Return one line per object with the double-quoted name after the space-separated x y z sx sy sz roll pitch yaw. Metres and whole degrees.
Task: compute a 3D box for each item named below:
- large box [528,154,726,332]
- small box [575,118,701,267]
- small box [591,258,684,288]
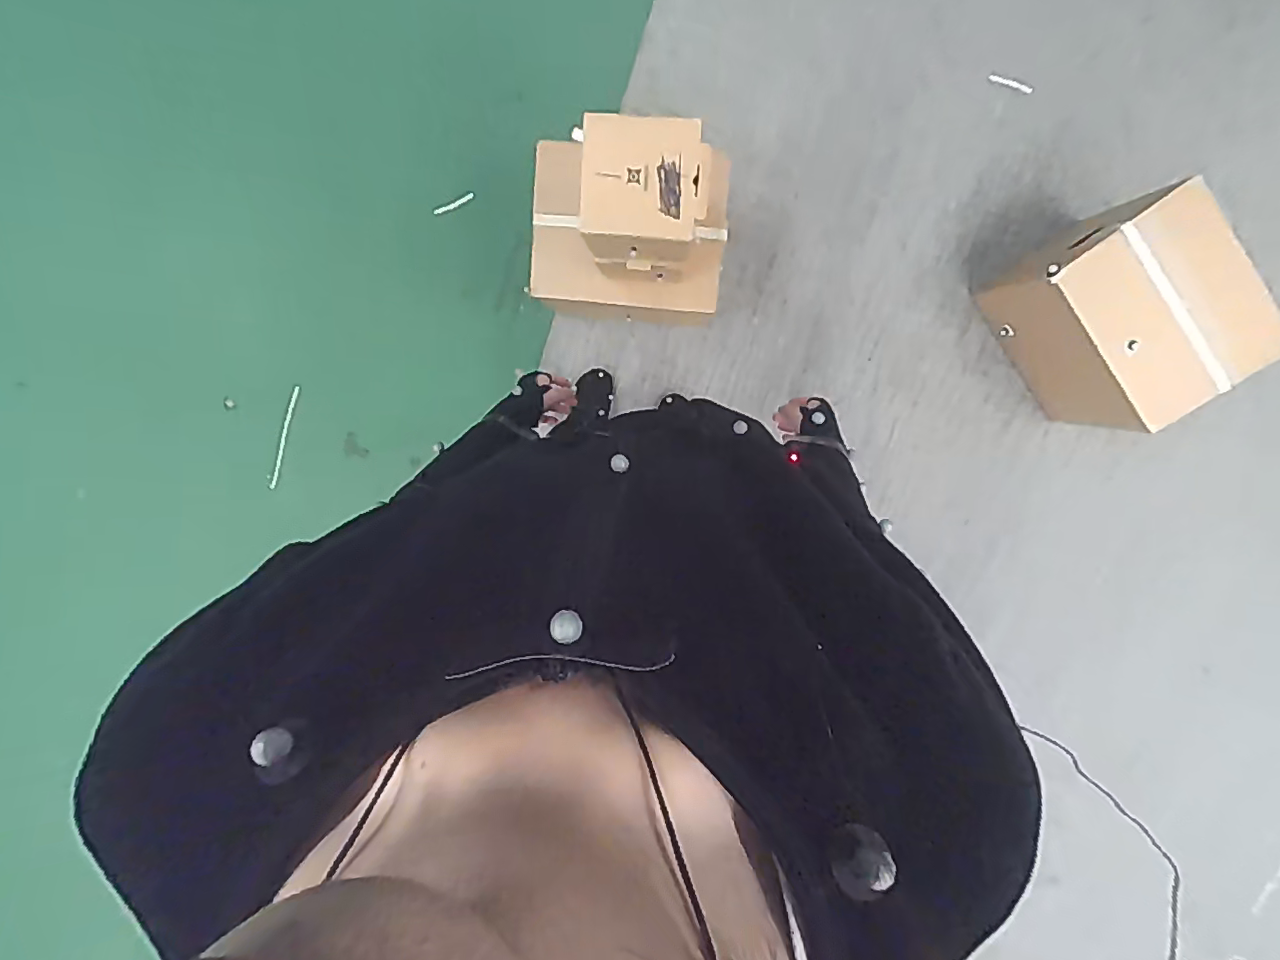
-0.019 -0.530 1.272 0.408 0.320 0.320 6 99 4 "large box"
0.000 -0.448 0.869 0.179 0.176 0.168 5 100 3 "small box"
0.006 -0.473 1.031 0.168 0.176 0.179 6 100 2 "small box"
